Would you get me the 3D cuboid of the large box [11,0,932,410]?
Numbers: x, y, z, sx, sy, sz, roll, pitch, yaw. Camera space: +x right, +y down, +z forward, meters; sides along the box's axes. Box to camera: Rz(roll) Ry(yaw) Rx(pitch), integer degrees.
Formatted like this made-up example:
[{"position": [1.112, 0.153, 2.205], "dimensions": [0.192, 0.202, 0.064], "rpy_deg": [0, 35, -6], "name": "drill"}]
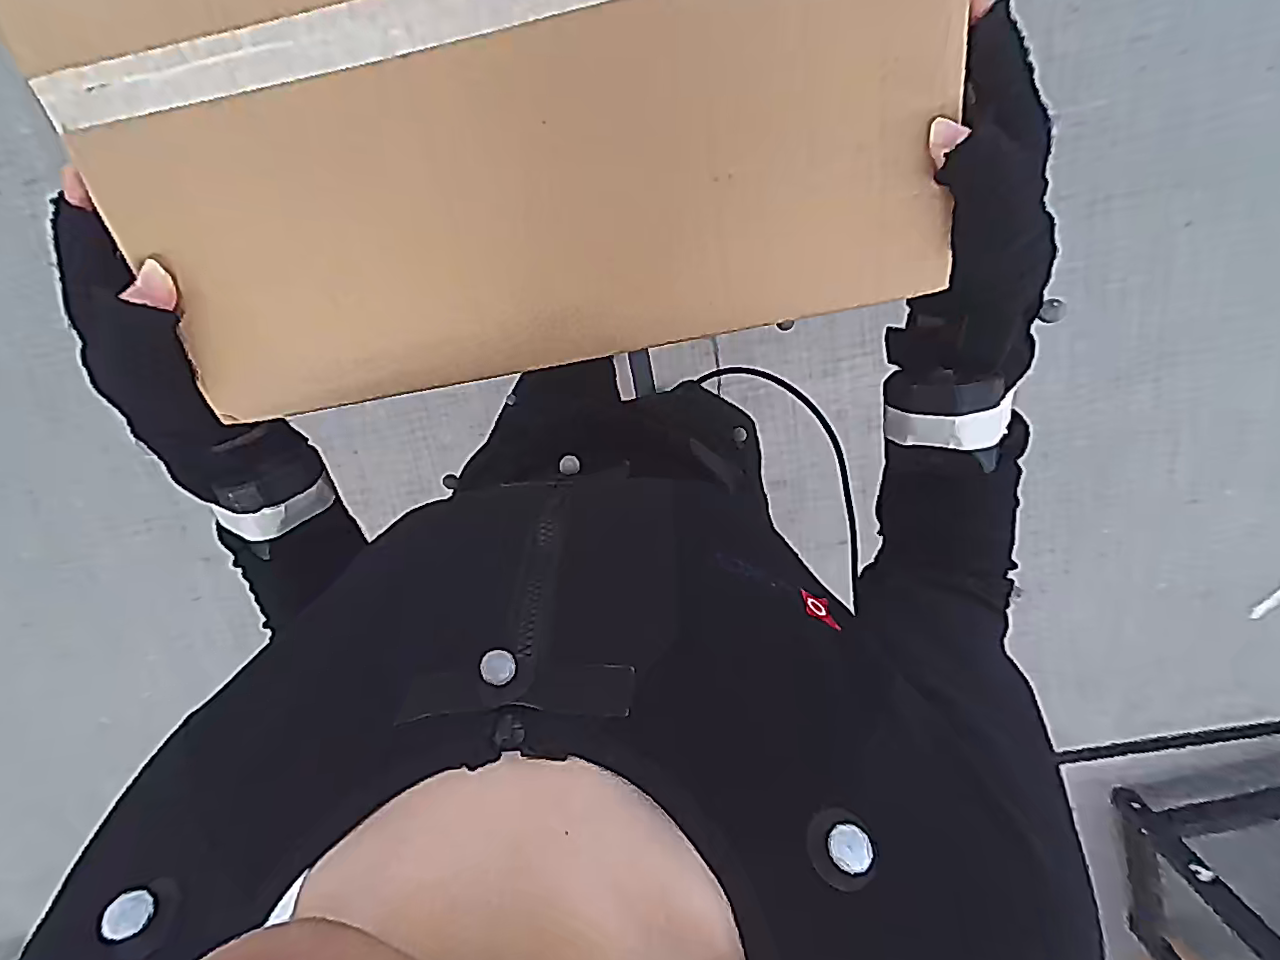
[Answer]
[{"position": [-0.071, -0.276, 0.372], "dimensions": [0.408, 0.320, 0.320], "rpy_deg": [-10, 115, 5], "name": "large box"}]
